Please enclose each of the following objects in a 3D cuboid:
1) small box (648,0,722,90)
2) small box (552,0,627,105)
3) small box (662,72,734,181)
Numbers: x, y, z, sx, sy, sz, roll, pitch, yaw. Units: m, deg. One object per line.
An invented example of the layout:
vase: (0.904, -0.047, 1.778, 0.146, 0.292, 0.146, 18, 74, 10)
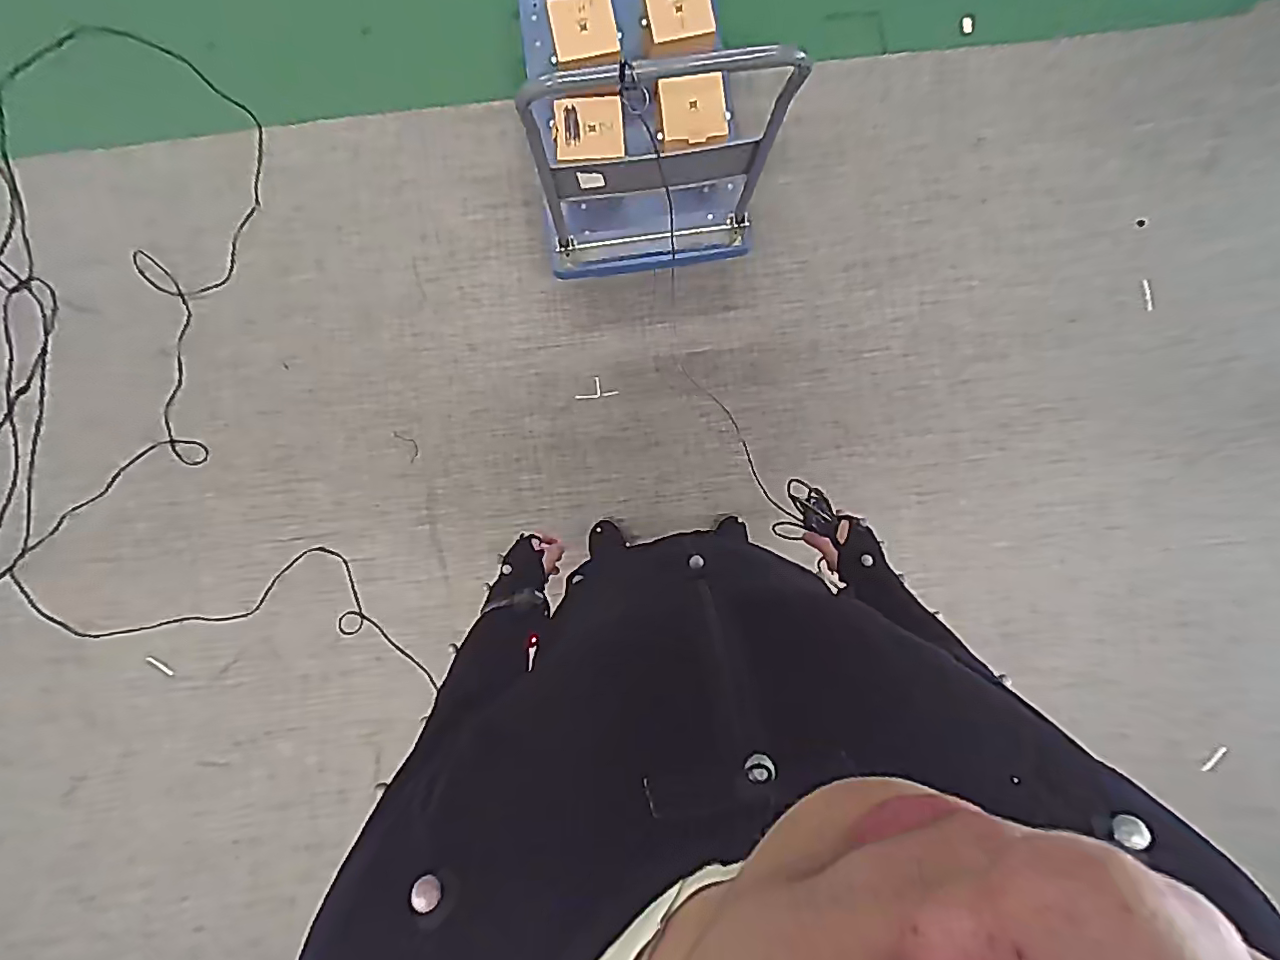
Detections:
small box: (0.115, -1.206, 1.462, 0.168, 0.176, 0.179, -11, 88, 1)
small box: (-0.132, -1.156, 1.464, 0.168, 0.176, 0.179, -11, 86, 0)
small box: (0.150, -0.939, 1.446, 0.168, 0.176, 0.179, -6, 87, 1)
